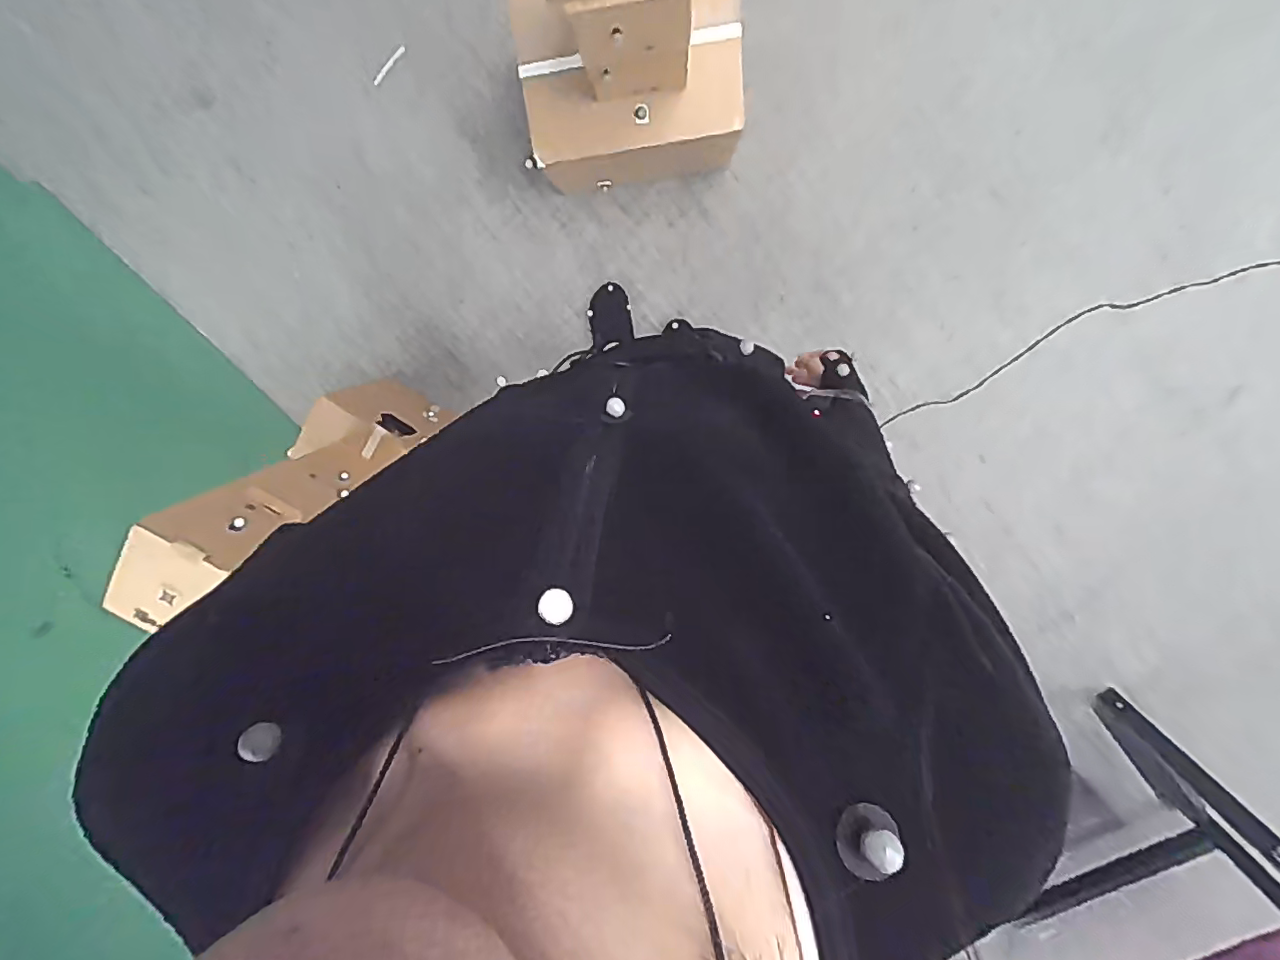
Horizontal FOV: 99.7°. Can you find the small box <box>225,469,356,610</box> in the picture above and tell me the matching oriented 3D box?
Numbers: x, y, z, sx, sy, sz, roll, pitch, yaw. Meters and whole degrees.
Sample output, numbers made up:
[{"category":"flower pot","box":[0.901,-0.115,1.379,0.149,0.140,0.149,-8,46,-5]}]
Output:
[{"category":"small box","box":[-0.678,0.103,1.028,0.168,0.176,0.179,33,107,-7]}]

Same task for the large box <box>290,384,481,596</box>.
[{"category":"large box","box":[-0.687,0.011,1.427,0.320,0.320,0.408,34,108,-6]}]

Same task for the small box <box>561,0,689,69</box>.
[{"category":"small box","box":[-0.021,-0.696,0.734,0.168,0.176,0.179,-6,105,6]}]

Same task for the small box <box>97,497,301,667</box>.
[{"category":"small box","box":[-0.692,0.153,0.872,0.168,0.176,0.179,34,105,-7]}]

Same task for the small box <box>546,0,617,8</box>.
[{"category":"small box","box":[-0.044,-0.653,0.575,0.179,0.176,0.168,-4,105,5]}]
